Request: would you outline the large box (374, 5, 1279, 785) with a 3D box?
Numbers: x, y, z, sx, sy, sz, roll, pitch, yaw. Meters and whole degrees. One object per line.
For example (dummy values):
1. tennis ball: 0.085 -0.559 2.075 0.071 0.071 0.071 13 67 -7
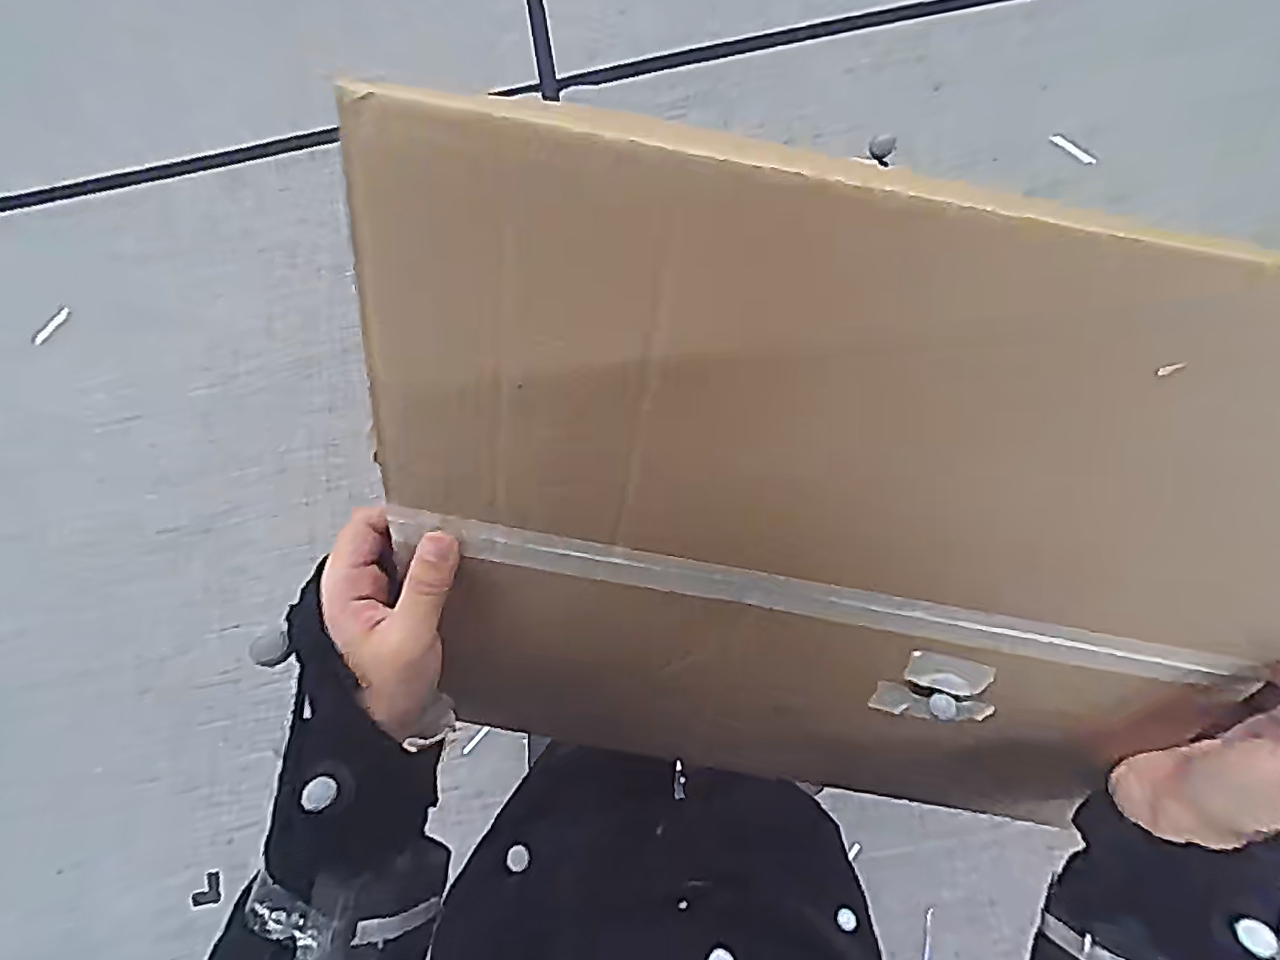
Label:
1. large box: 0.109 -0.057 0.359 0.408 0.320 0.320 10 124 -1
